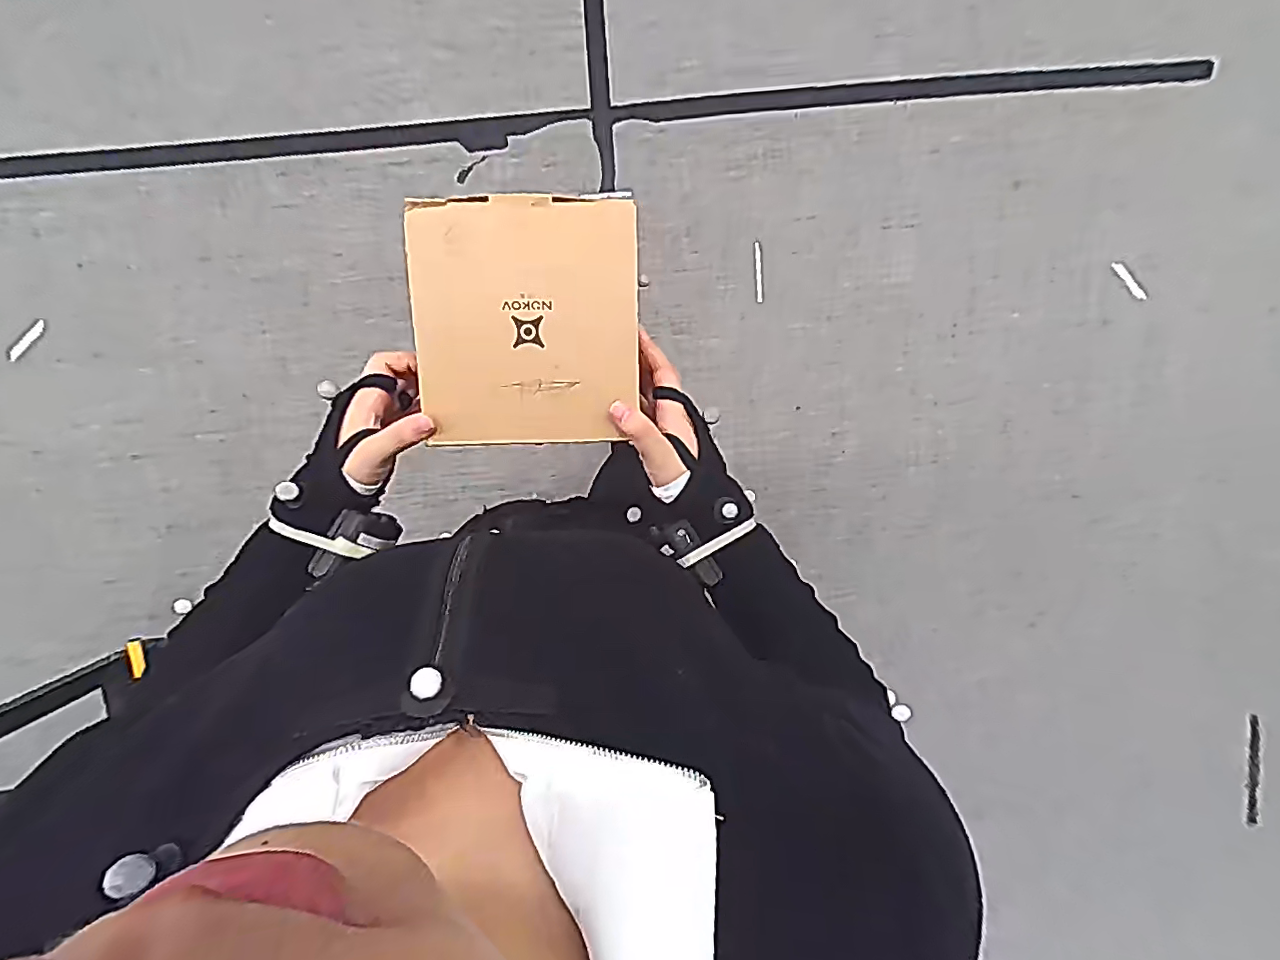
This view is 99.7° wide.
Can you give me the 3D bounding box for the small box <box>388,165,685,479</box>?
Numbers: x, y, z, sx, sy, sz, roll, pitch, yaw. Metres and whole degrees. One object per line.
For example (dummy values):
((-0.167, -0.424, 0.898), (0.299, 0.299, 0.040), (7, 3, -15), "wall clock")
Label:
((-0.061, -0.104, 0.393), (0.168, 0.176, 0.179), (-2, 102, -4), "small box")
